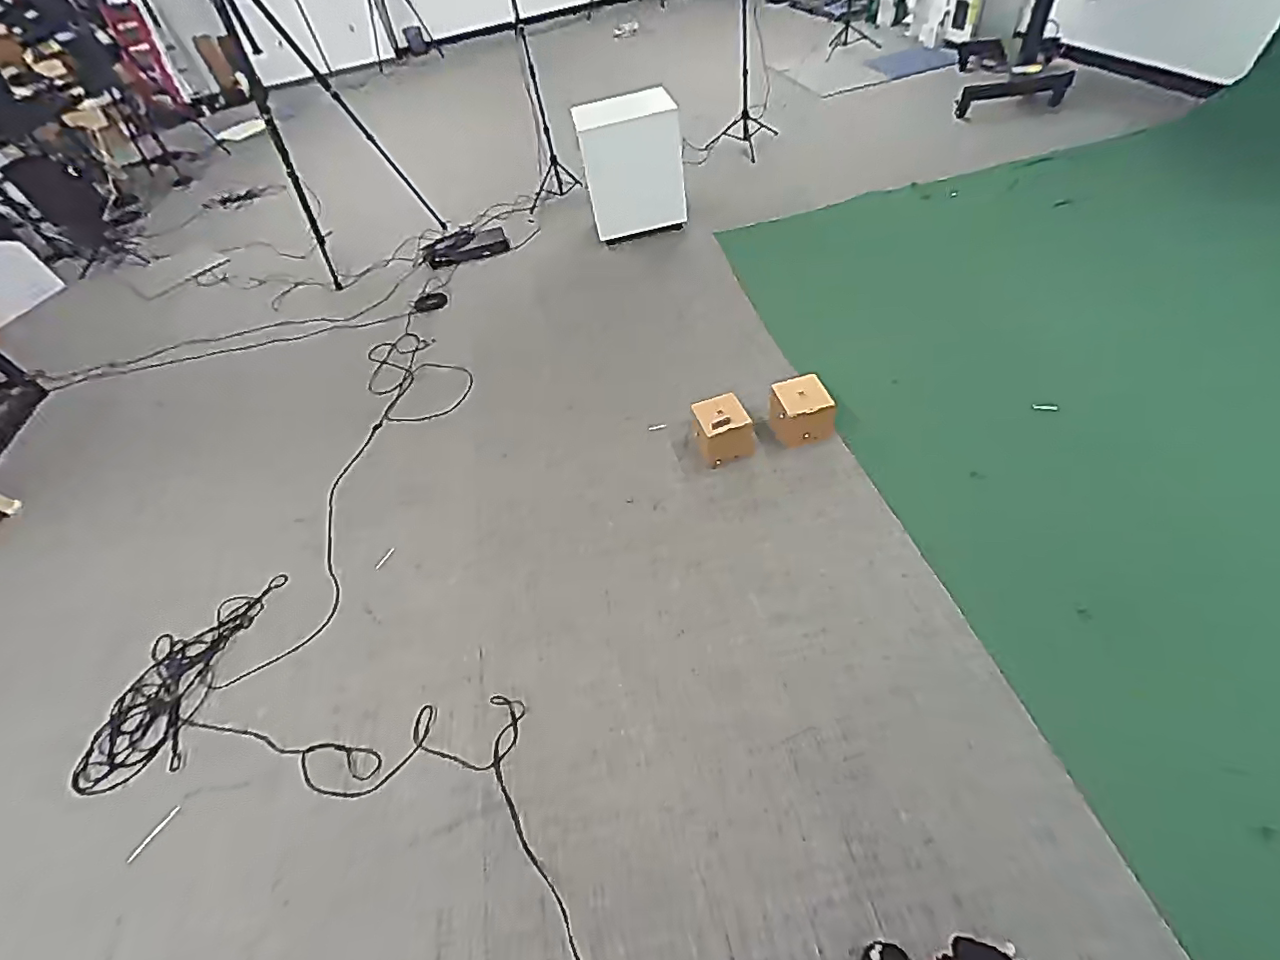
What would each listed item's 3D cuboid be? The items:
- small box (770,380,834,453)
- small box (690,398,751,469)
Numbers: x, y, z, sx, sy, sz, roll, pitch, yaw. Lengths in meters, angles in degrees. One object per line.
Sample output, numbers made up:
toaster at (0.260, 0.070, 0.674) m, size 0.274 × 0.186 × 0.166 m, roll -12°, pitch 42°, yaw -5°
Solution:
small box at (0.575, -0.226, 1.944) m, size 0.168 × 0.176 × 0.179 m, roll -15°, pitch 49°, yaw -2°
small box at (0.290, -0.158, 1.937) m, size 0.168 × 0.176 × 0.179 m, roll -17°, pitch 48°, yaw -5°
